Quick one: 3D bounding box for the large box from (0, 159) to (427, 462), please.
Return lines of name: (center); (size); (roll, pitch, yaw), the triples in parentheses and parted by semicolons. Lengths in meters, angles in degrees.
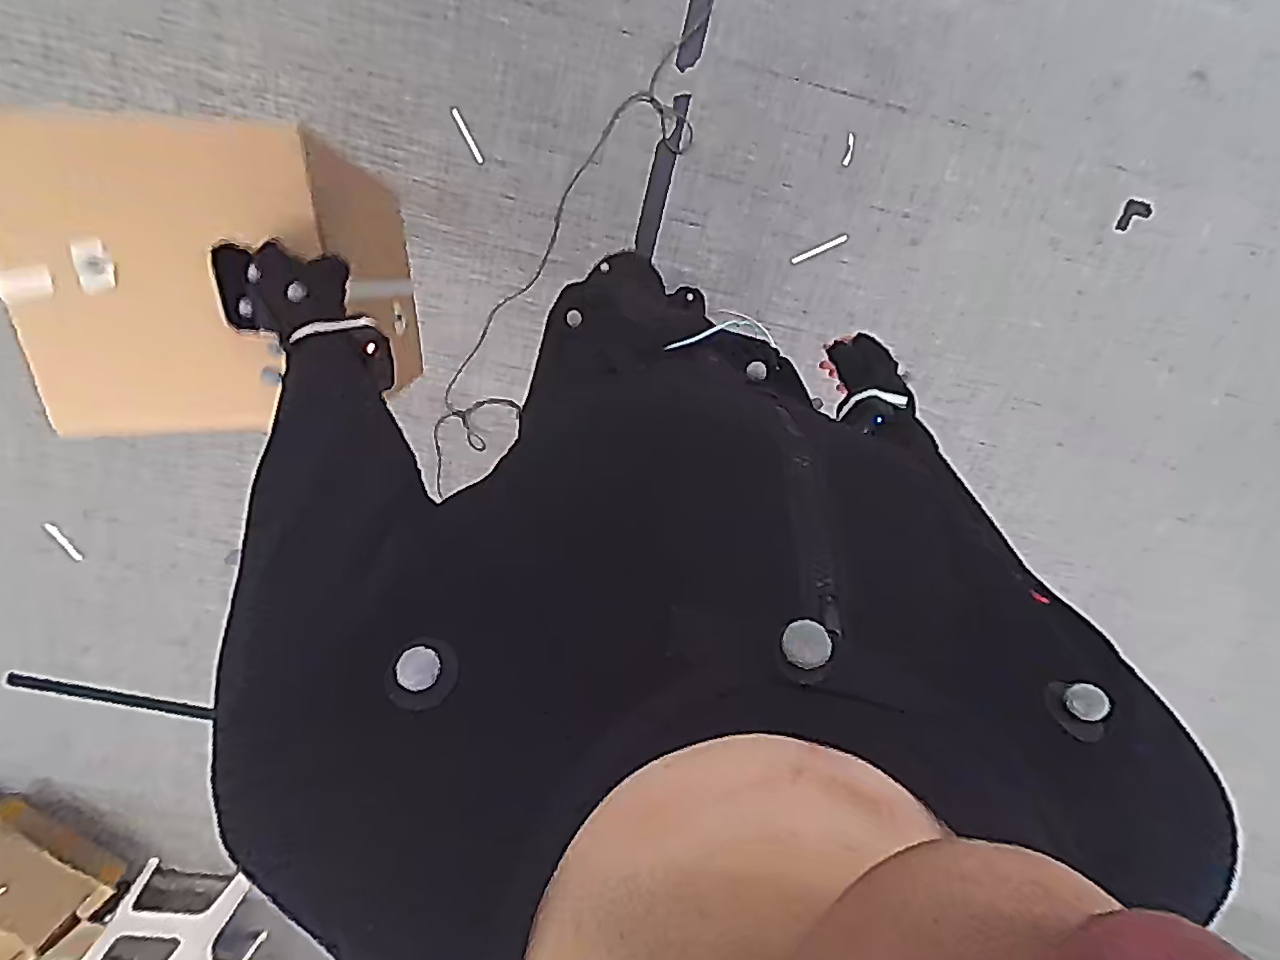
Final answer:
large box: (-0.526, -0.242, 0.771); (0.320, 0.408, 0.320); (-6, 110, -9)
